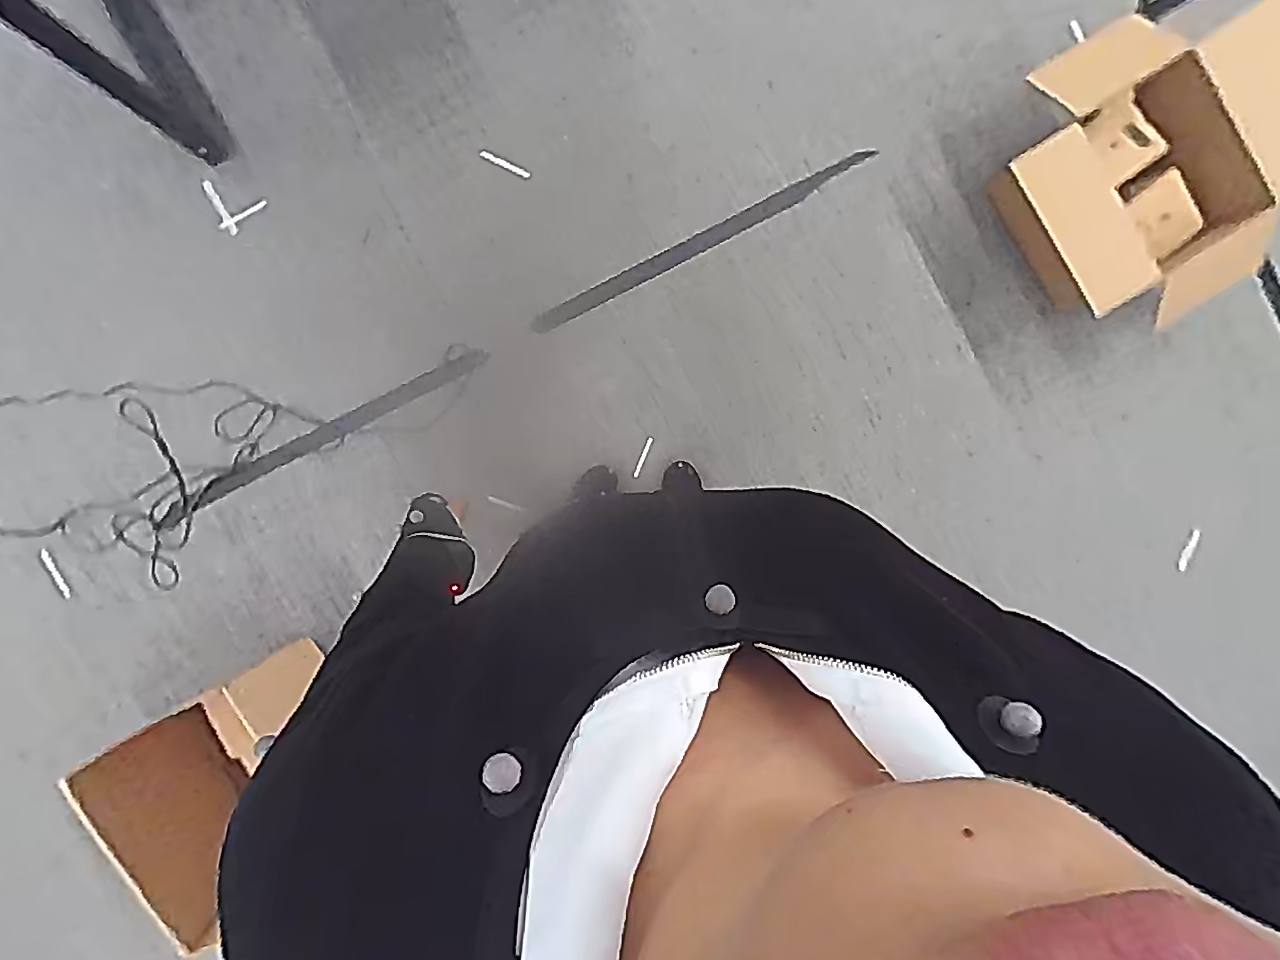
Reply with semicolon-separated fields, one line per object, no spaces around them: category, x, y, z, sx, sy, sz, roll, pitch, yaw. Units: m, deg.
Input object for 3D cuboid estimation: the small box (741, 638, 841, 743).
small box;0.383;0.536;1.402;0.179;0.176;0.168;-26;91;1
